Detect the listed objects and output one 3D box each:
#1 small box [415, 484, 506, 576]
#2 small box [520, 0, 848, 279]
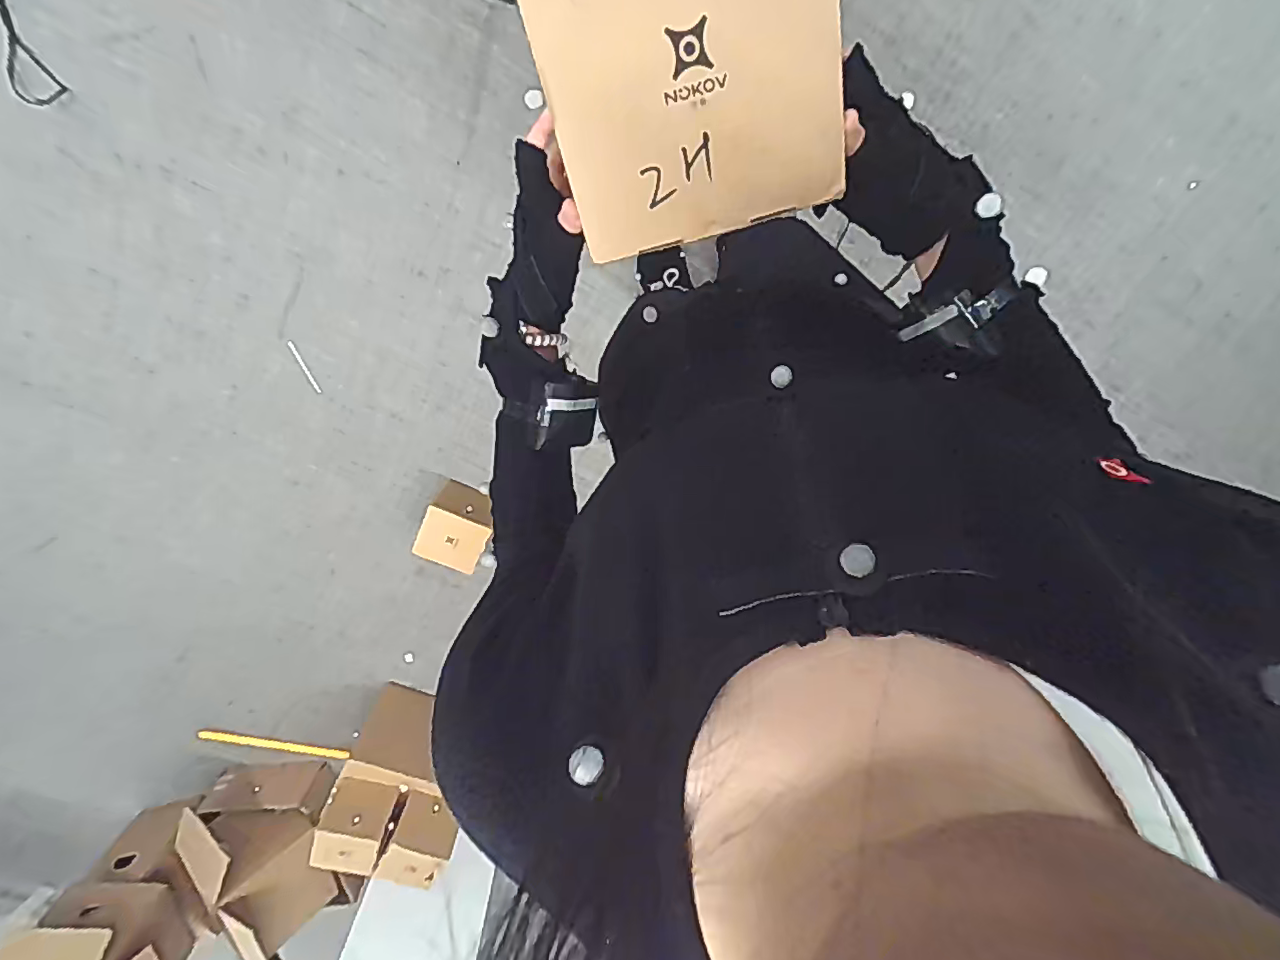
[{"bbox_3d":[-0.498,0.133,1.520,0.179,0.176,0.168,24,112,-13],"label":"small box"},{"bbox_3d":[0.026,-0.258,0.362,0.168,0.176,0.179,-12,123,6],"label":"small box"}]
